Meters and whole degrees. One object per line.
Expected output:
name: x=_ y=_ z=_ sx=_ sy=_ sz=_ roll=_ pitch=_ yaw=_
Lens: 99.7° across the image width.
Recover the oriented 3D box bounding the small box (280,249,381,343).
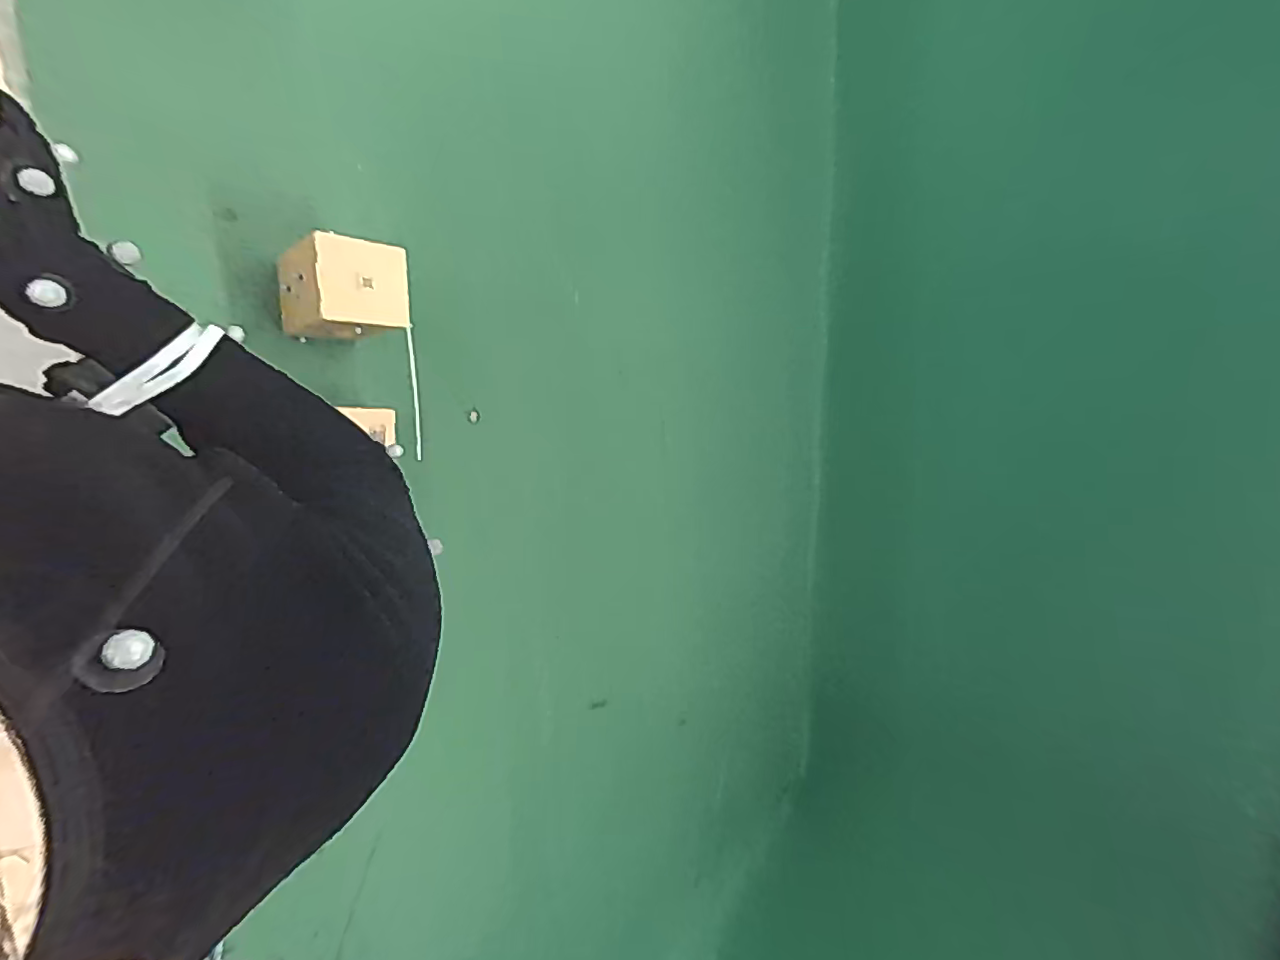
small box: x=-0.731 y=-0.423 z=1.276 sx=0.168 sy=0.176 sz=0.179 roll=-8 pitch=101 yaw=-45

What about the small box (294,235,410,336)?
small box: x=-0.617 y=-0.406 z=1.160 sx=0.179 sy=0.176 sz=0.168 roll=-8 pitch=101 yaw=-44
